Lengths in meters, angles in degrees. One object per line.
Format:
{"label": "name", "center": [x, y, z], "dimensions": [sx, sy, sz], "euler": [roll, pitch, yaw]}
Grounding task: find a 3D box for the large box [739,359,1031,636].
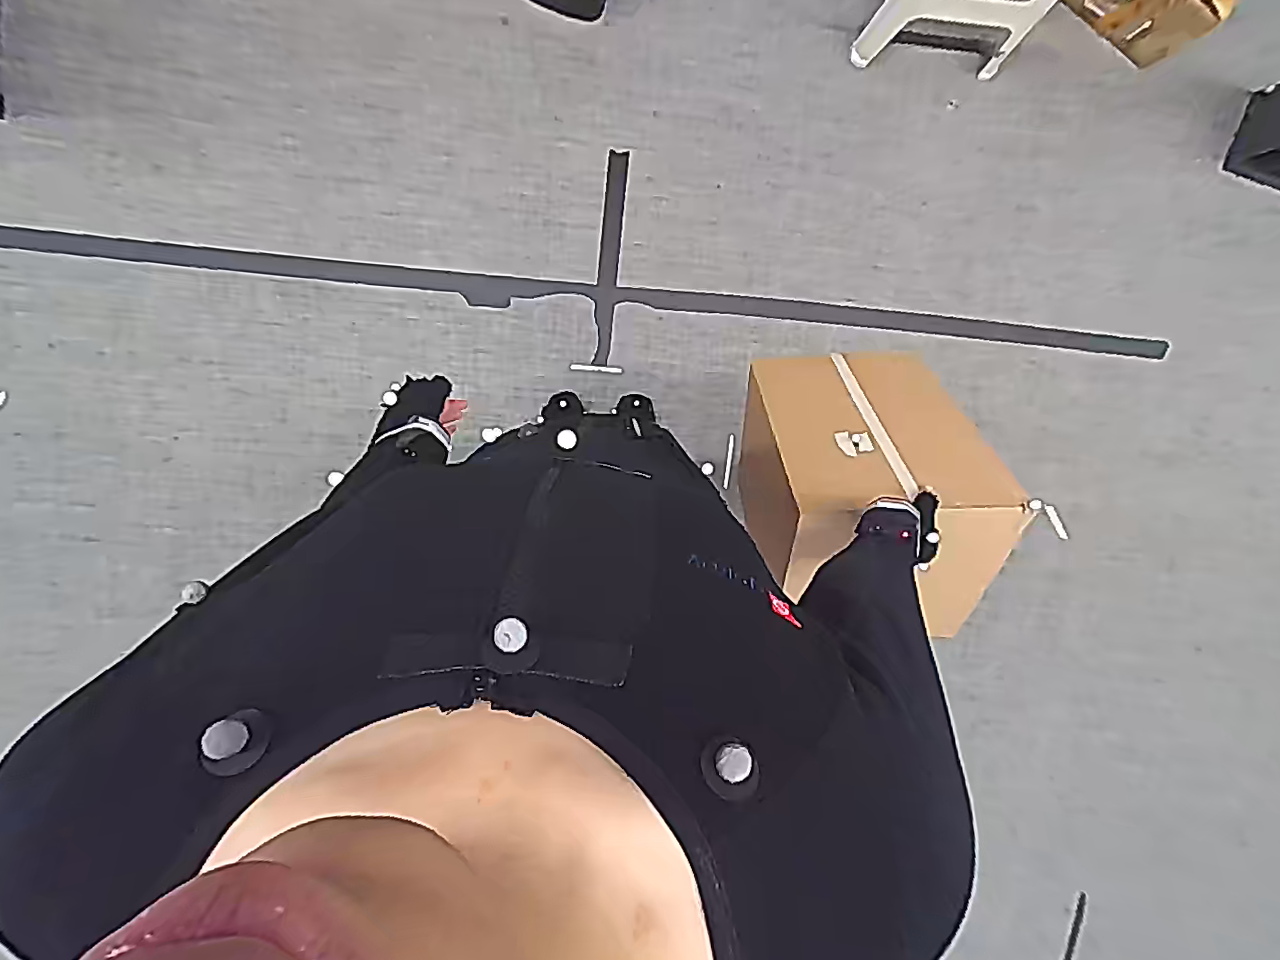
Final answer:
{"label": "large box", "center": [0.374, 0.021, 0.972], "dimensions": [0.320, 0.408, 0.320], "euler": [-3, 134, 1]}
